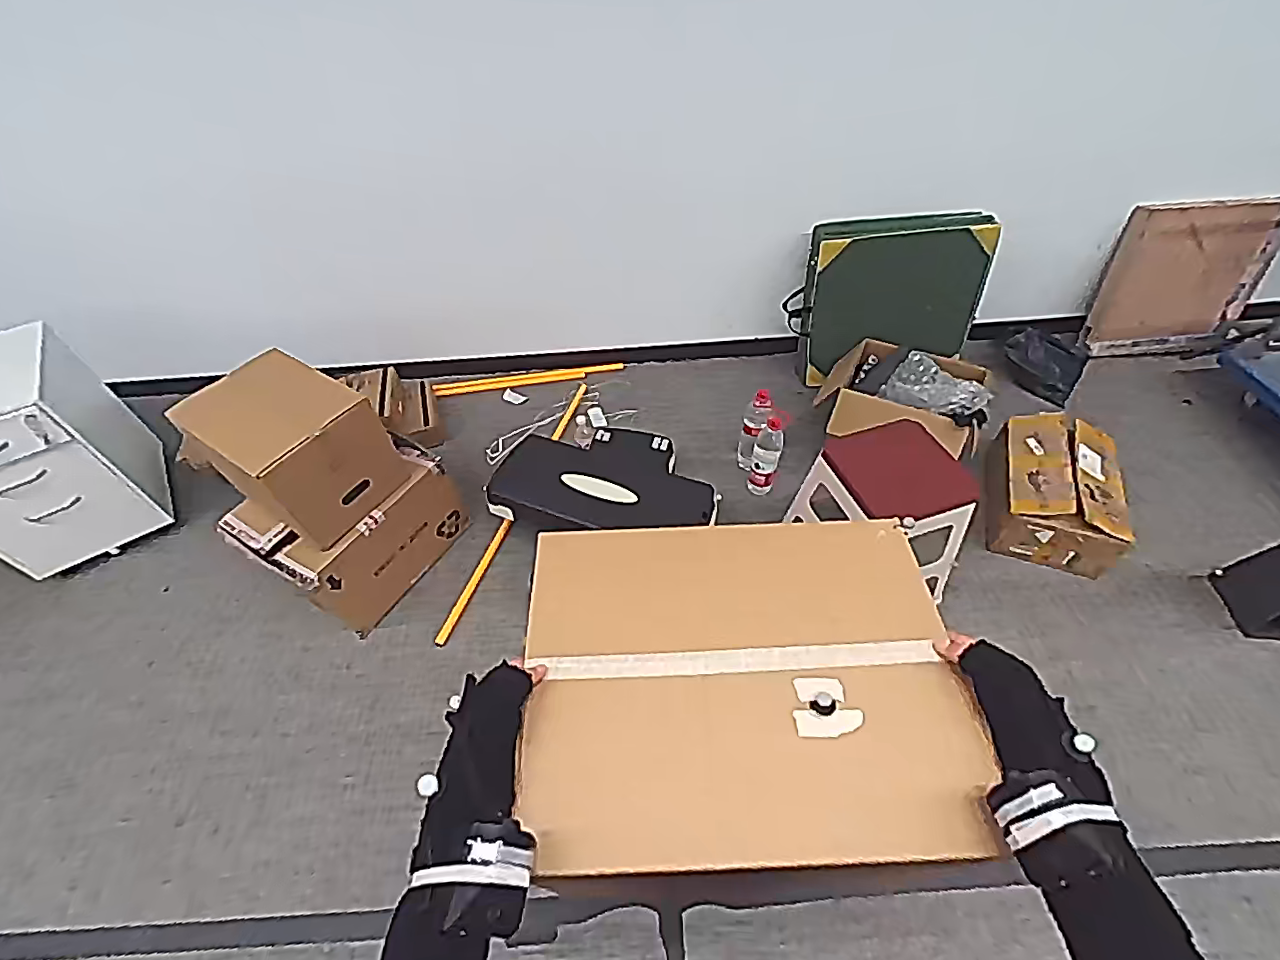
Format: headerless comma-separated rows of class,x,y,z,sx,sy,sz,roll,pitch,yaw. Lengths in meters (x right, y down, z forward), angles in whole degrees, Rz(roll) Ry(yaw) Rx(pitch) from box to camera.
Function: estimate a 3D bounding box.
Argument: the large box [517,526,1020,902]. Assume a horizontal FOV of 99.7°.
large box,0.096,0.273,0.626,0.408,0.320,0.320,-2,50,0
